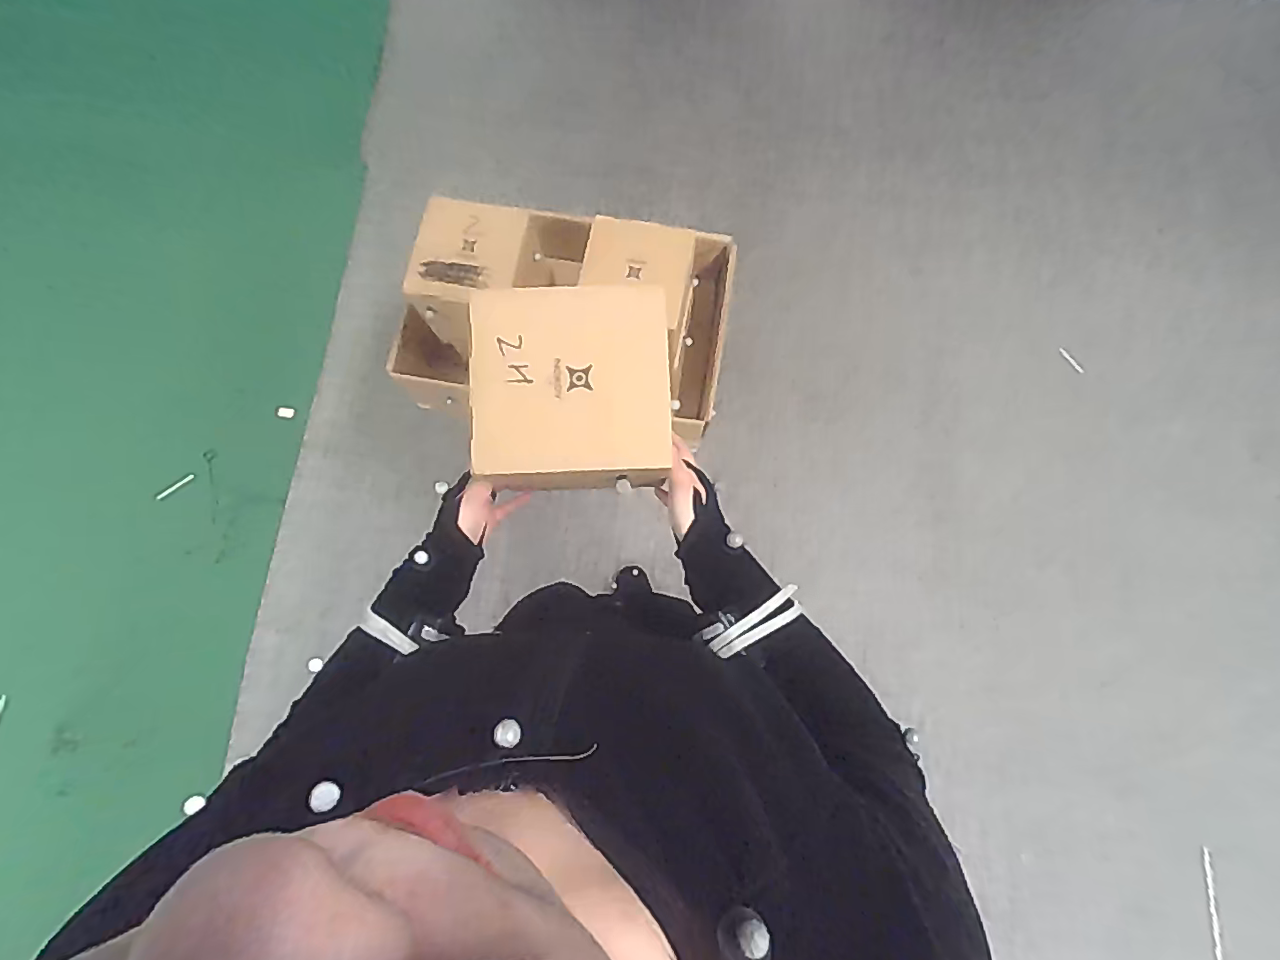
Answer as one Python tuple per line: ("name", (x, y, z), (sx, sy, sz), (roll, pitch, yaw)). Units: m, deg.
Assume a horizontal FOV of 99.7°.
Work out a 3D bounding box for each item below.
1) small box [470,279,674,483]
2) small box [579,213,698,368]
("small box", (-0.060, -0.087, 0.549), (0.179, 0.176, 0.168), (-1, 84, 0))
("small box", (-0.004, -0.308, 0.910), (0.168, 0.176, 0.179), (11, 79, 5))
